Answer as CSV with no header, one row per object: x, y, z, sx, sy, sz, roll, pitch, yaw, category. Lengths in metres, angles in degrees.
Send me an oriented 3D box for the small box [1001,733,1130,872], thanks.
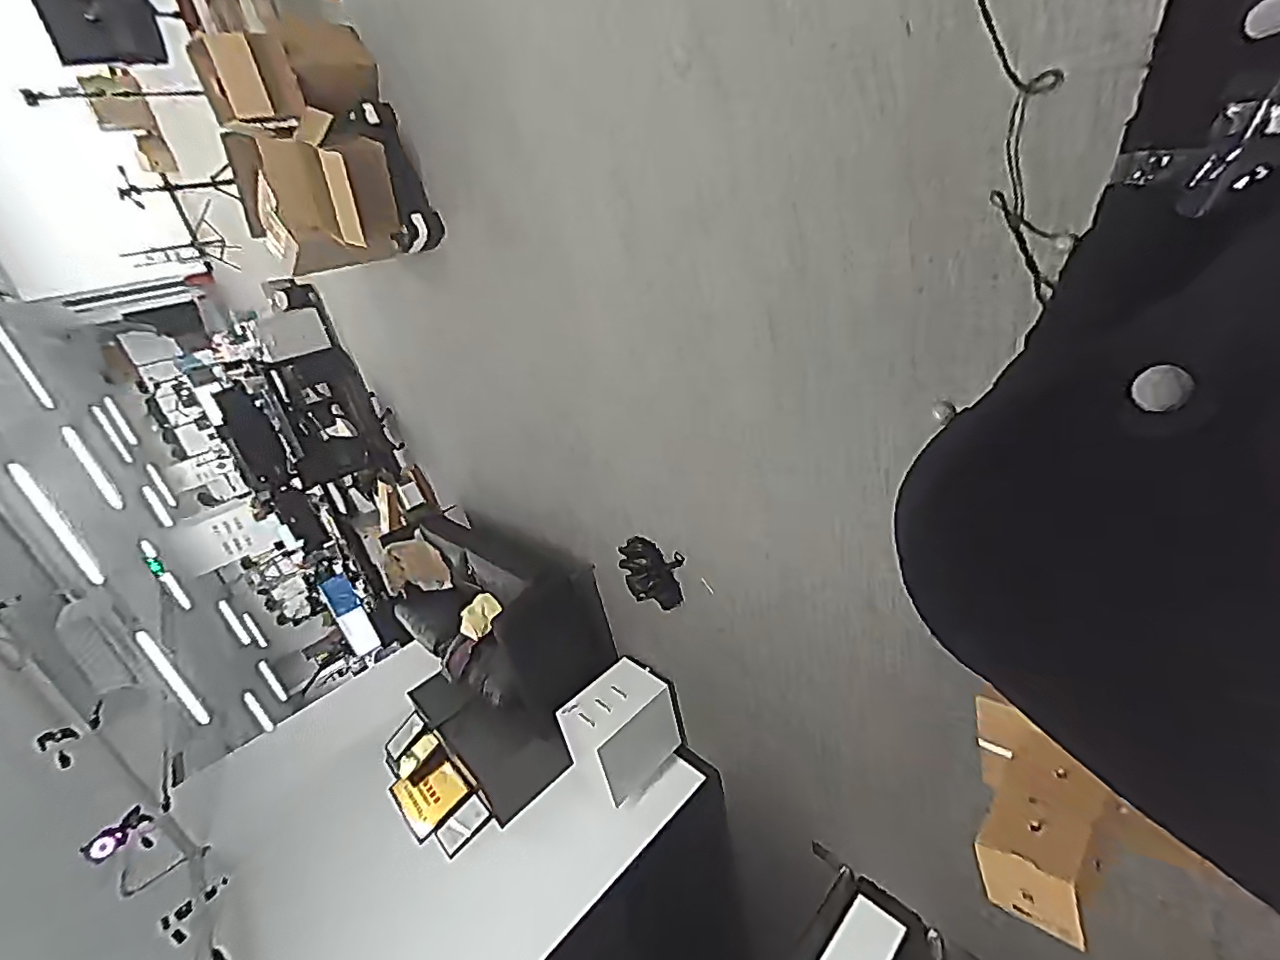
0.938,0.694,1.193,0.179,0.176,0.168,-2,113,54,small box

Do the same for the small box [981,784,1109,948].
0.826,0.769,1.101,0.168,0.176,0.179,0,115,52,small box
